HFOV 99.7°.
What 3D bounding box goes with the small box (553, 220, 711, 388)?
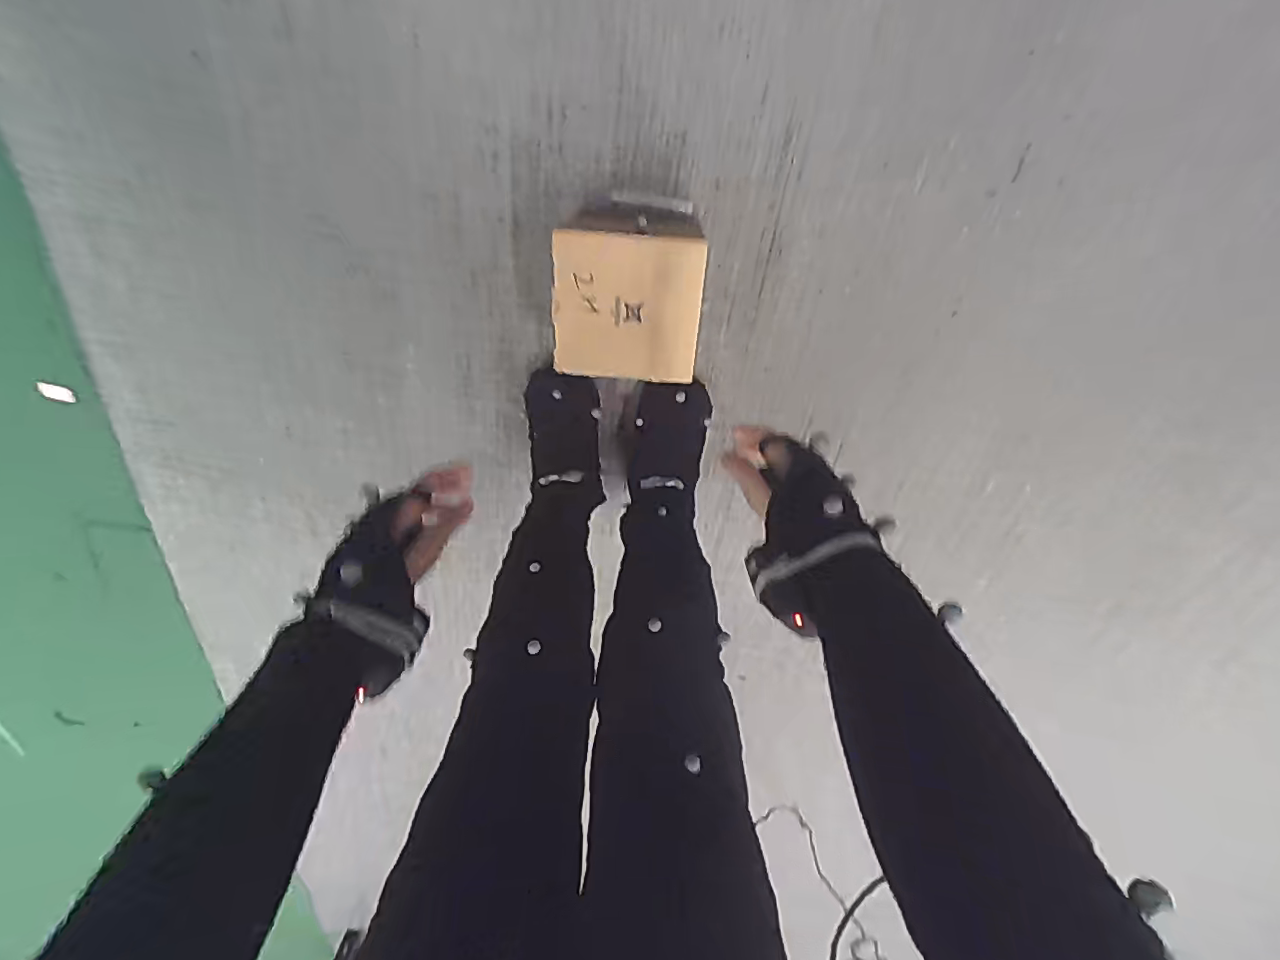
[{"bbox_3d":[-0.012,-0.232,0.697,0.179,0.176,0.168,5,122,0],"label":"small box"}]
